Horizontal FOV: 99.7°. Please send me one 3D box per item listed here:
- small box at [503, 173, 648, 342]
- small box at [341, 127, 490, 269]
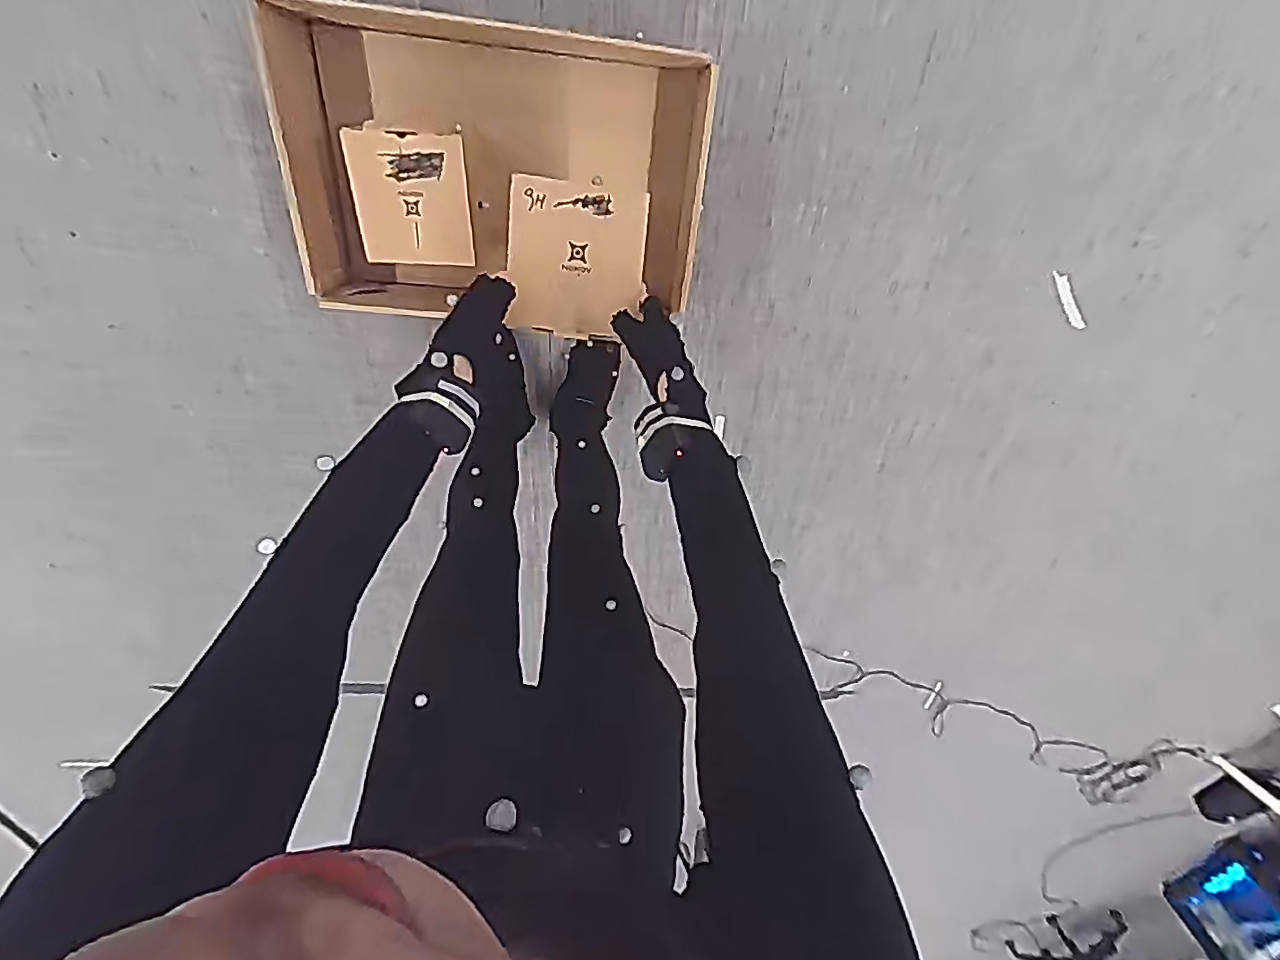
[{"bbox_3d":[-0.086,-0.288,0.732,0.168,0.176,0.179,4,106,-7],"label":"small box"},{"bbox_3d":[-0.337,-0.443,0.849,0.168,0.176,0.179,1,122,-5],"label":"small box"}]
